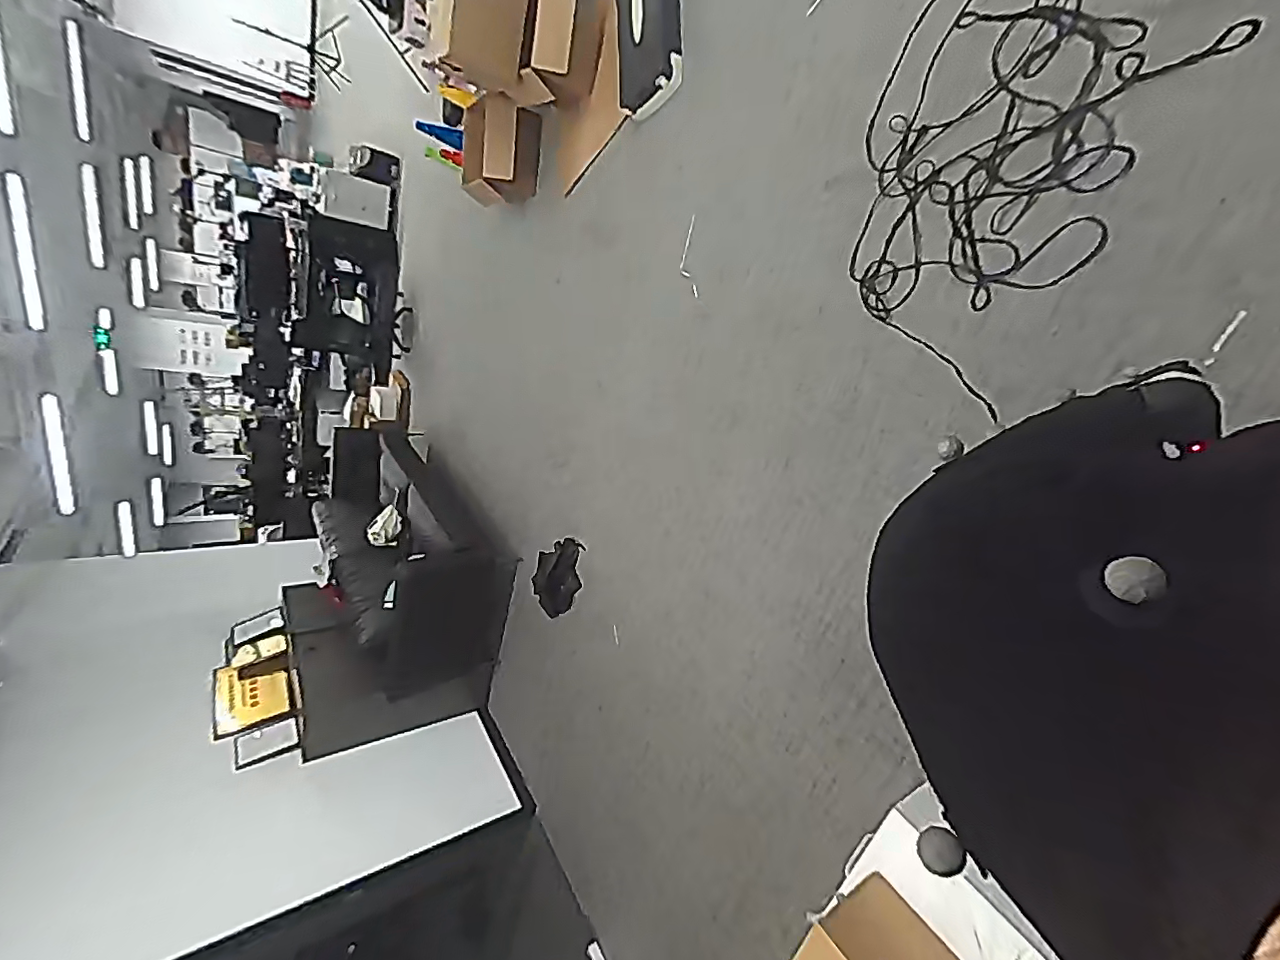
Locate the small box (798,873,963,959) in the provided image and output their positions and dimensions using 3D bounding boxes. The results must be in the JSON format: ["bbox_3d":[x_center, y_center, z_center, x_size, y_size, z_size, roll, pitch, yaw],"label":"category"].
[{"bbox_3d":[0.353,0.734,0.788,0.179,0.176,0.168,38,120,46],"label":"small box"}]
